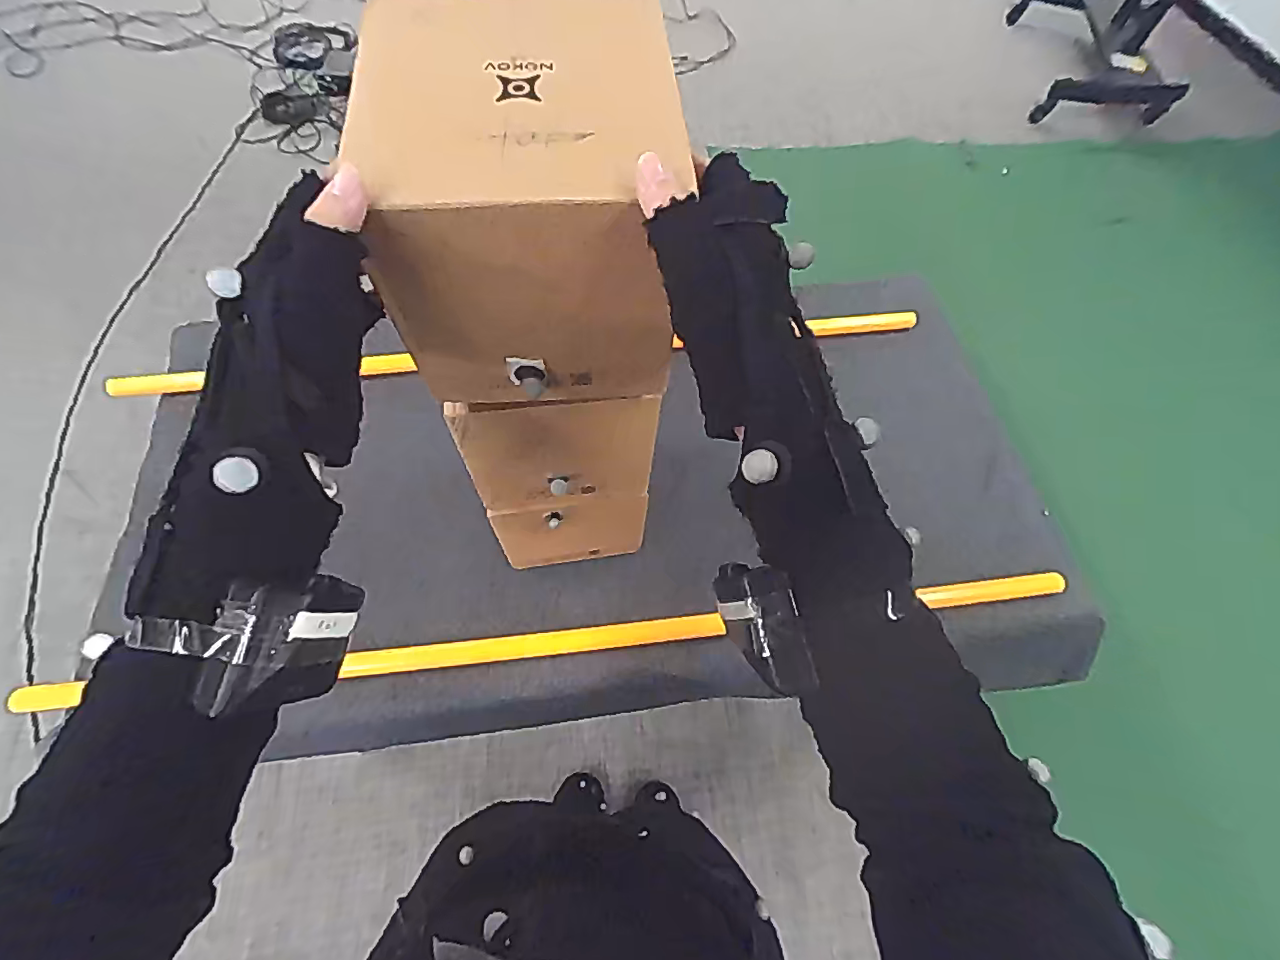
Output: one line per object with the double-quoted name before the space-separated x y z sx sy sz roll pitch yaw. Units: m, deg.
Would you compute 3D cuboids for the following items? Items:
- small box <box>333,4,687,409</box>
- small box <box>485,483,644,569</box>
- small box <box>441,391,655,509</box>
"small box" -0.070 -0.166 0.357 0.168 0.176 0.179 -4 66 -5
"small box" -0.093 -0.009 0.664 0.168 0.176 0.179 -7 62 -7
"small box" -0.084 -0.091 0.521 0.168 0.176 0.179 -6 63 -6
